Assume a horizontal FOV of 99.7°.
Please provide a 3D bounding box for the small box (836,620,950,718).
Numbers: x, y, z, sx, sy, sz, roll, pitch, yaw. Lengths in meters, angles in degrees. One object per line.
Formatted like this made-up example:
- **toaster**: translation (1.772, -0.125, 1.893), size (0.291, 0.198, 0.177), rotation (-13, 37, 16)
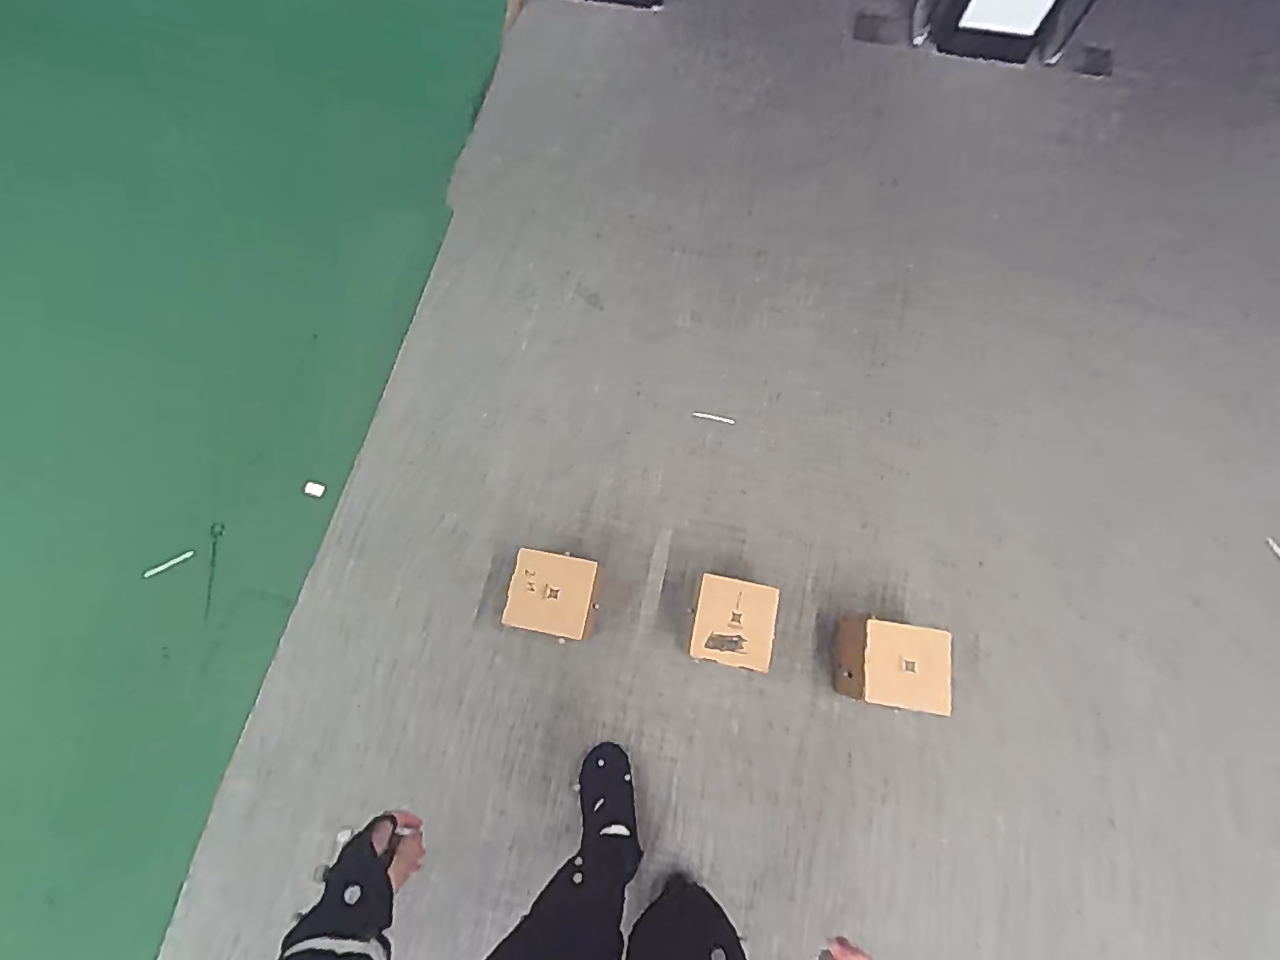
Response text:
- **small box**: translation (0.540, 0.405, 1.173), size (0.179, 0.176, 0.168), rotation (9, 75, 3)

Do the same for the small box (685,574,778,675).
- **small box**: translation (0.197, 0.321, 1.201), size (0.168, 0.176, 0.179), rotation (12, 74, 4)

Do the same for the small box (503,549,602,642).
- **small box**: translation (-0.187, 0.264, 1.224), size (0.179, 0.176, 0.168), rotation (11, 74, 4)
